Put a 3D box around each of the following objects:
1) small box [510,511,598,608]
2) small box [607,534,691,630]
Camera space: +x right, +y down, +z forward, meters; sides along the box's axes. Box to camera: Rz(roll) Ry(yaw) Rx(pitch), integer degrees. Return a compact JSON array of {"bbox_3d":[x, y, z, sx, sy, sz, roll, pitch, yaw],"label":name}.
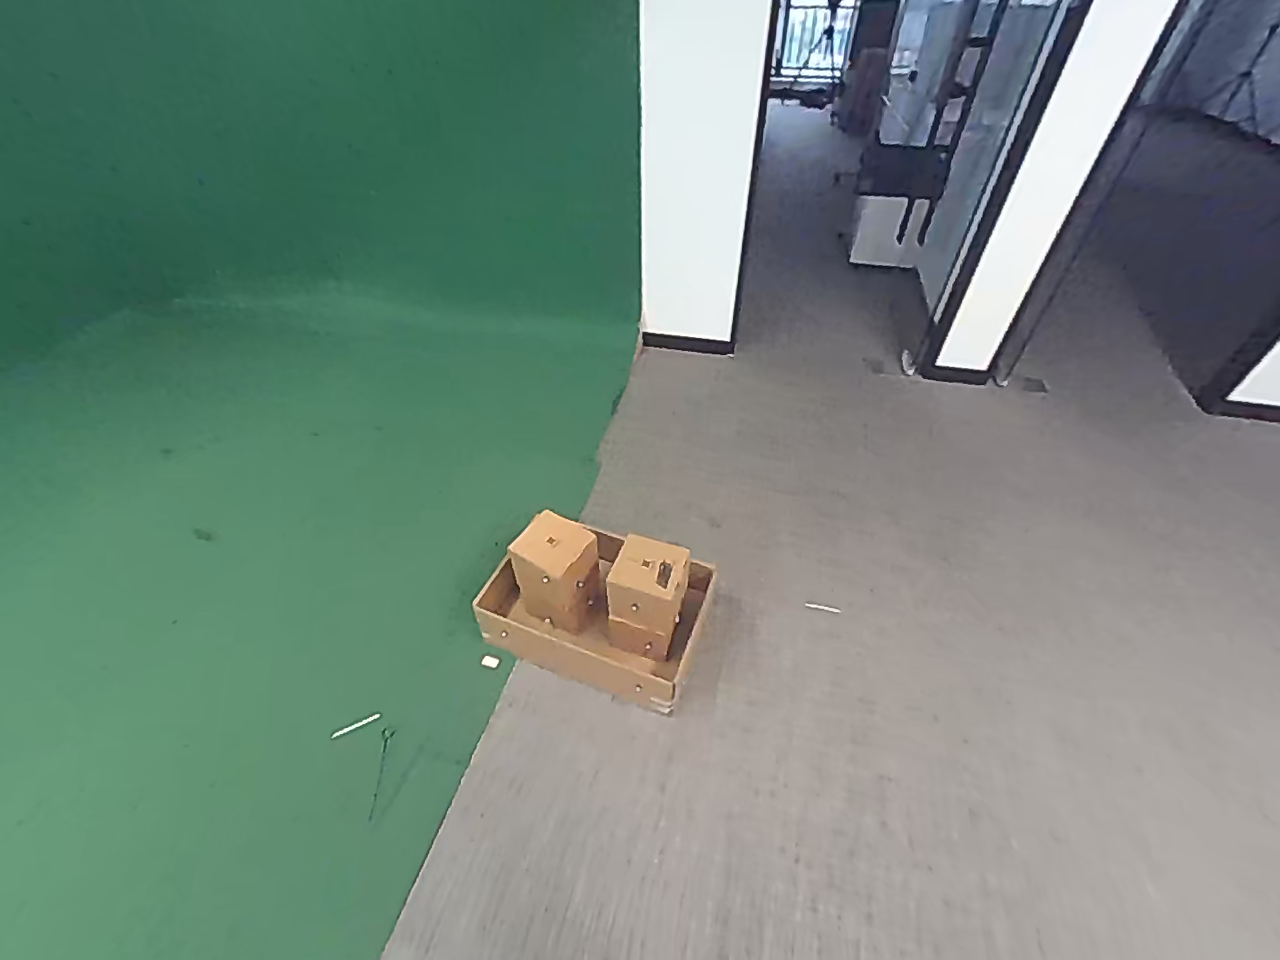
[{"bbox_3d":[-0.232,0.223,1.499,0.179,0.176,0.168,25,50,21],"label":"small box"},{"bbox_3d":[0.028,0.274,1.440,0.179,0.176,0.168,13,47,16],"label":"small box"}]
